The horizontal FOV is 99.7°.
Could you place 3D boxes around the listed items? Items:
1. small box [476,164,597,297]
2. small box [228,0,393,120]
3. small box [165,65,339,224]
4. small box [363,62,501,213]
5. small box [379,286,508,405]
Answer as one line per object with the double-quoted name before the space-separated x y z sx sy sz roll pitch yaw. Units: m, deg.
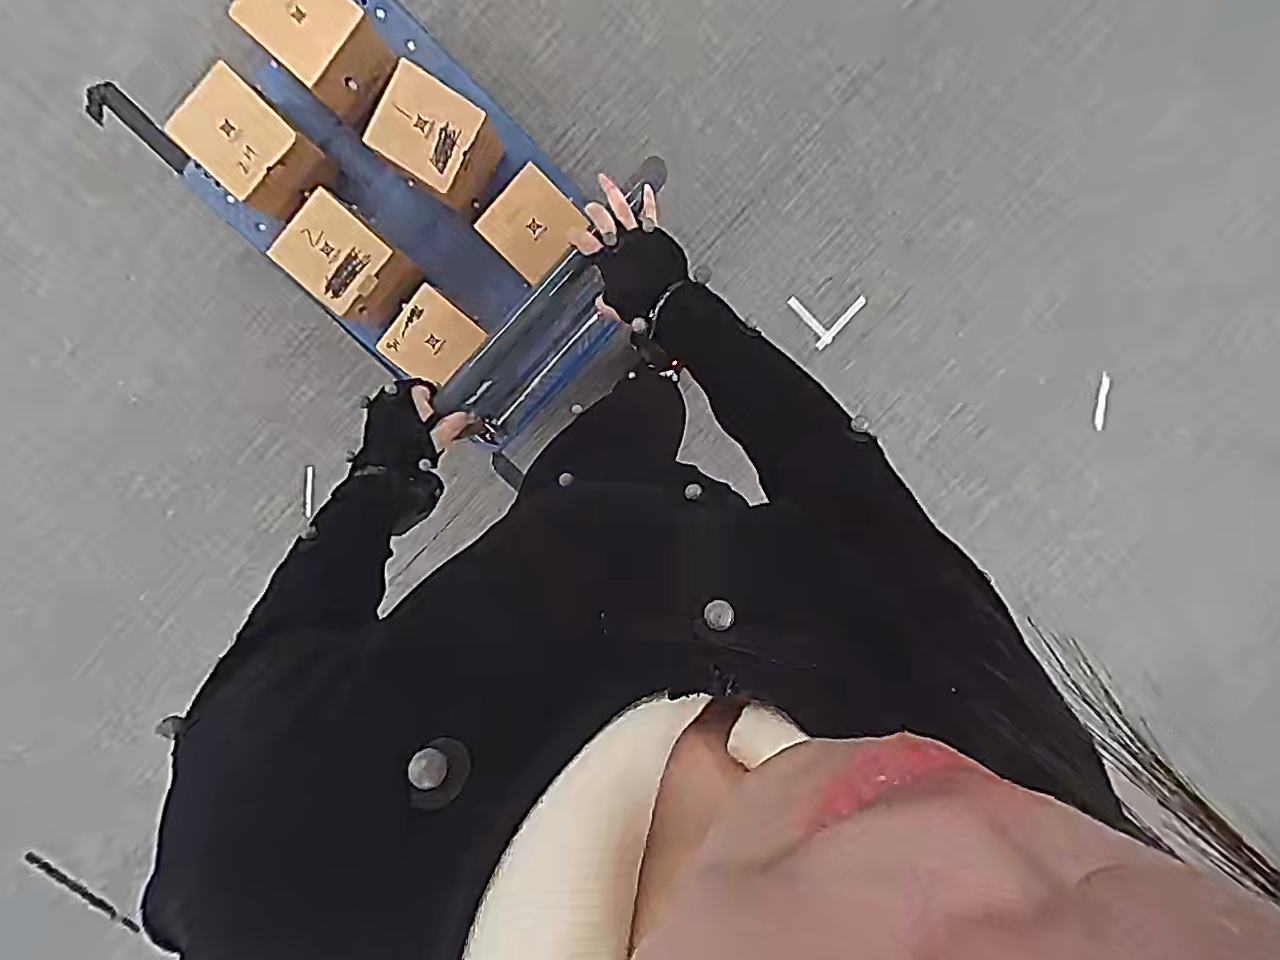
"small box" -0.203 -0.499 1.119 0.179 0.176 0.168 43 95 -10
"small box" -0.609 -0.829 1.027 0.179 0.176 0.168 39 96 -10
"small box" -0.741 -0.636 1.054 0.168 0.176 0.179 -45 102 5
"small box" -0.399 -0.661 1.073 0.179 0.176 0.168 30 98 -8
"small box" -0.403 -0.280 1.147 0.179 0.176 0.168 39 95 -10
